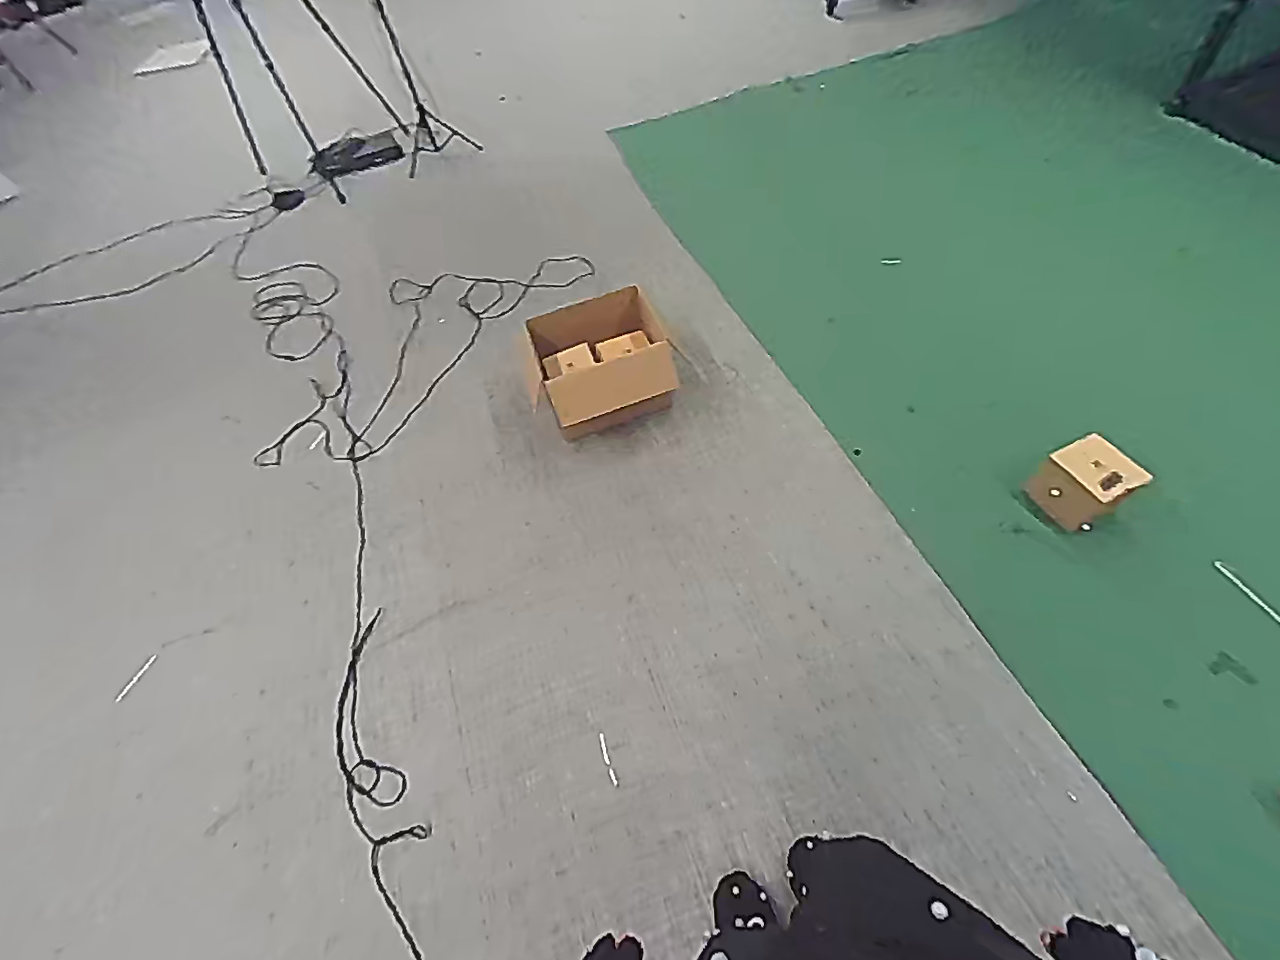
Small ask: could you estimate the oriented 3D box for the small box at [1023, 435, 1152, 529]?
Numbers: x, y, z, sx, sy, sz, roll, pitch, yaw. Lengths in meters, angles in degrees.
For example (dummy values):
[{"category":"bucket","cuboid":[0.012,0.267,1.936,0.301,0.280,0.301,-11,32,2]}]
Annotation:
[{"category":"small box","cuboid":[1.217,0.013,1.487,0.168,0.176,0.179,-23,55,-8]}]
